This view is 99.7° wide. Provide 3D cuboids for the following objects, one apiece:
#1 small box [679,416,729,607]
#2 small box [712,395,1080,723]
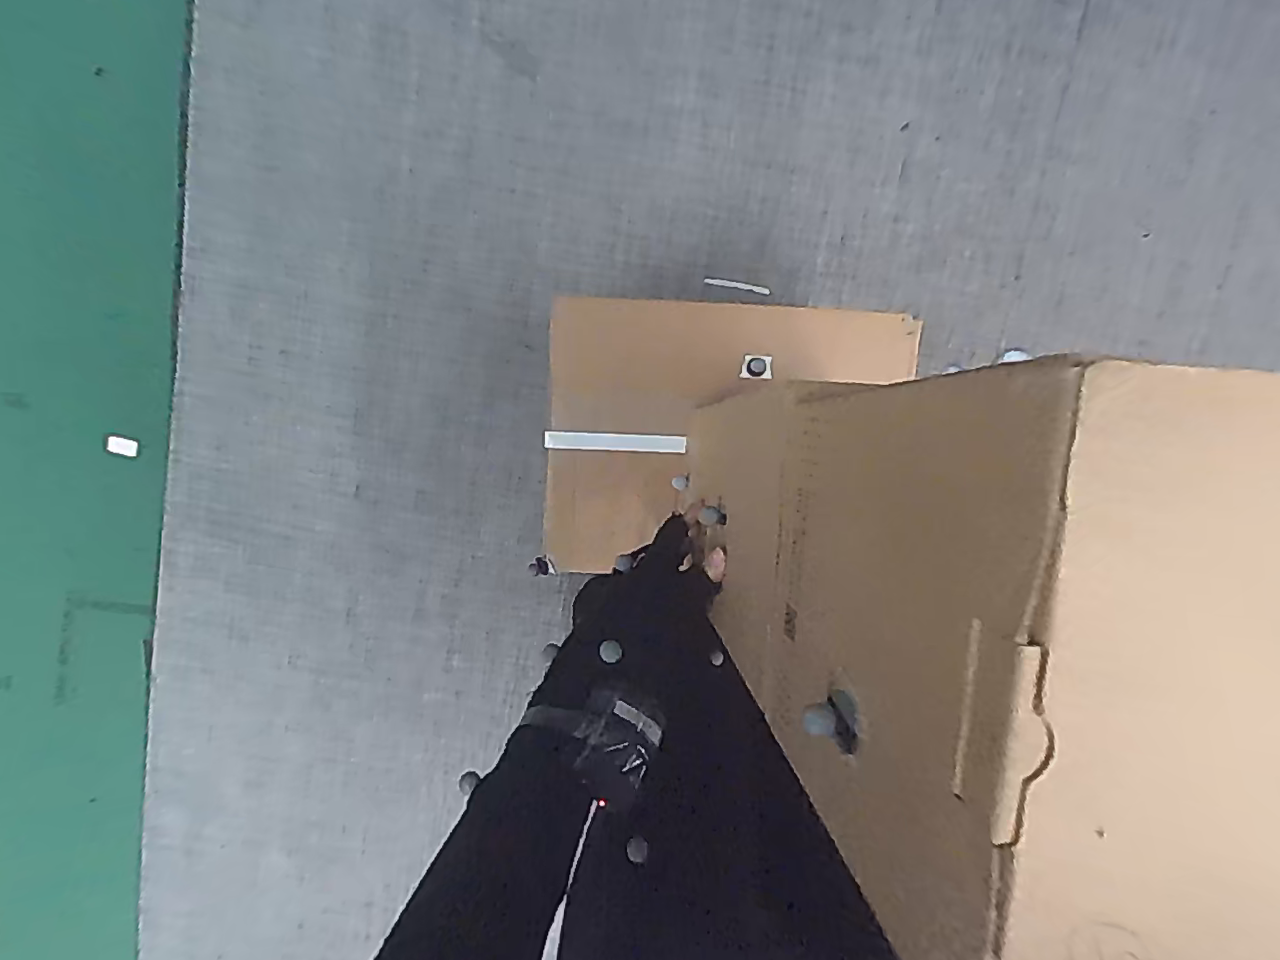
[{"bbox_3d":[0.141,0.028,0.536,0.179,0.176,0.168,5,94,-2],"label":"small box"},{"bbox_3d":[0.147,0.040,0.373,0.168,0.176,0.179,3,94,-3],"label":"small box"}]
